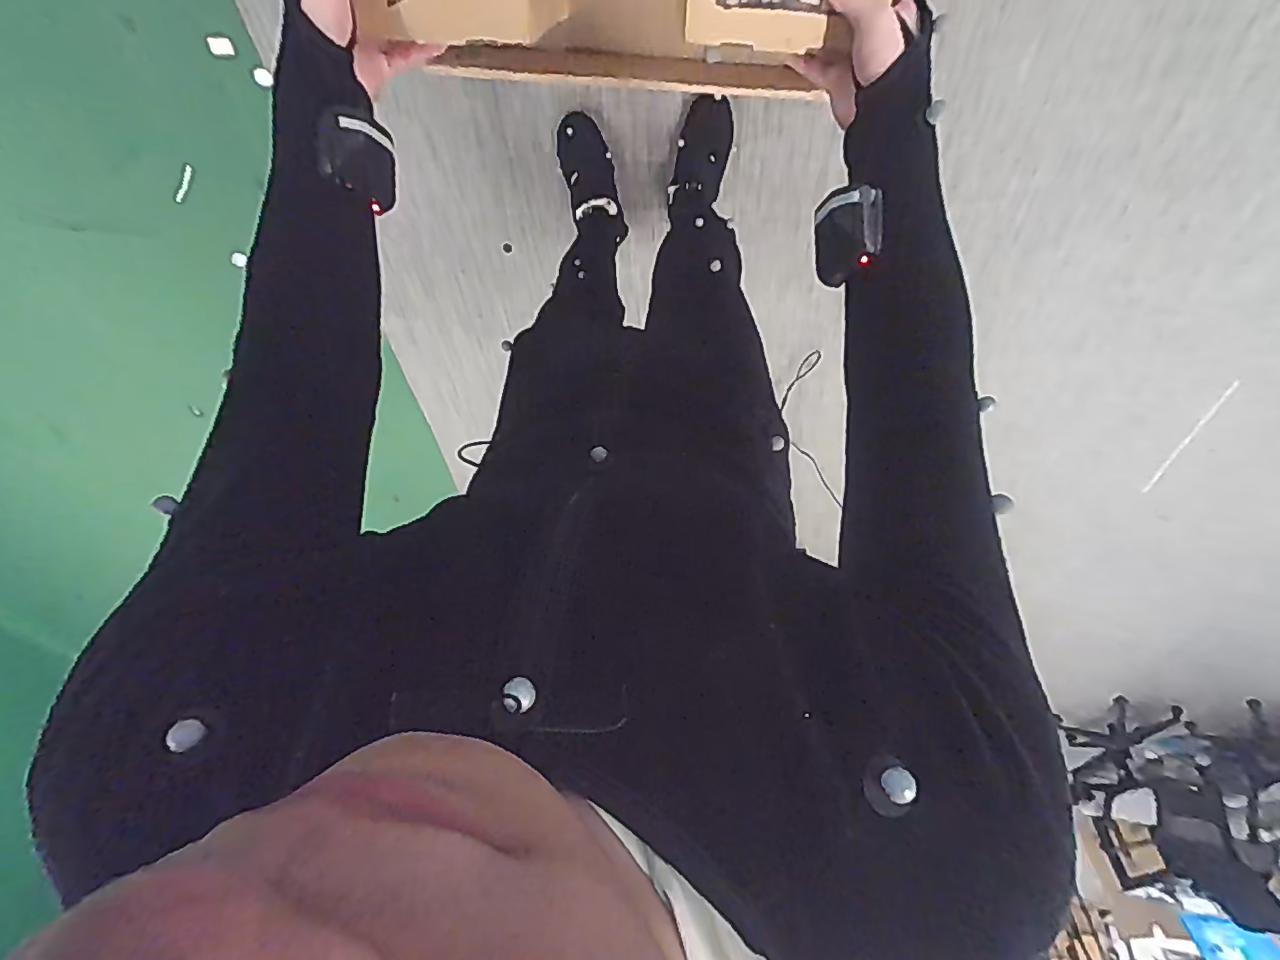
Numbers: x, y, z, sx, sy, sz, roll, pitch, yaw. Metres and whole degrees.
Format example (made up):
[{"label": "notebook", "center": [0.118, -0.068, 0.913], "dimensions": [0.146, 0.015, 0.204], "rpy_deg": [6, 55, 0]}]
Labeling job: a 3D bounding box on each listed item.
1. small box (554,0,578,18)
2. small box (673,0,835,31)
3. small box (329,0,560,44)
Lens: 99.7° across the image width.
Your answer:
[{"label": "small box", "center": [-0.158, -0.608, 0.568], "dimensions": [0.168, 0.176, 0.179], "rpy_deg": [1, 136, 2]}, {"label": "small box", "center": [0.124, -0.590, 0.556], "dimensions": [0.168, 0.176, 0.179], "rpy_deg": [3, 135, 0]}, {"label": "small box", "center": [-0.167, -0.489, 0.450], "dimensions": [0.168, 0.176, 0.179], "rpy_deg": [3, 138, 3]}]
